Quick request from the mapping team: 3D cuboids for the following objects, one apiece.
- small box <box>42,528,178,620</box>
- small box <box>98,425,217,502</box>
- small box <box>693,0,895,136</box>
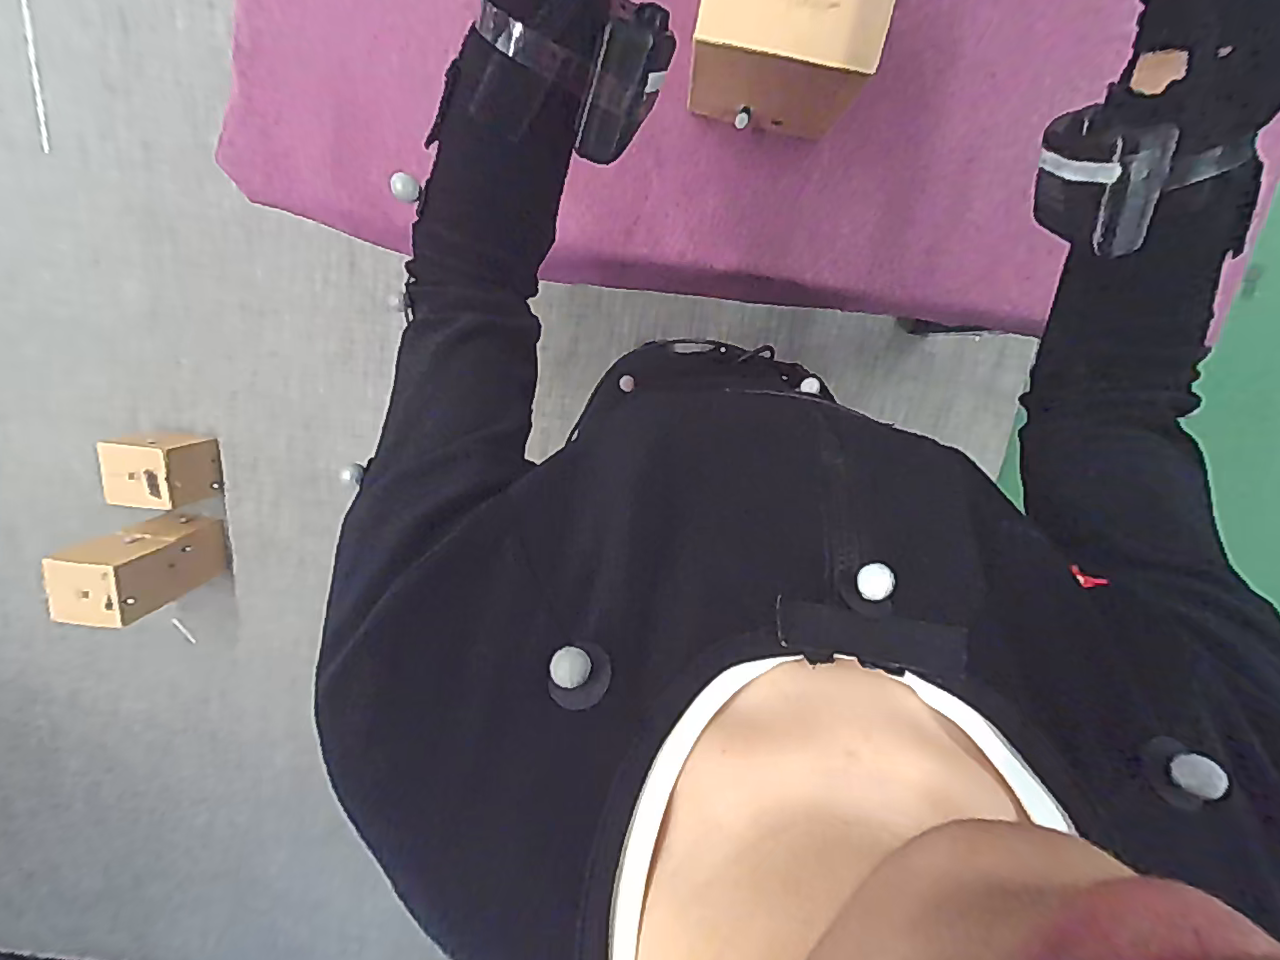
[{"bbox_3d":[-1.315,0.227,1.352,0.179,0.176,0.168,8,104,1],"label":"small box"},{"bbox_3d":[-1.277,-0.049,1.448,0.179,0.176,0.168,7,104,1],"label":"small box"},{"bbox_3d":[0.151,-0.481,0.533,0.168,0.176,0.179,13,105,0],"label":"small box"}]
